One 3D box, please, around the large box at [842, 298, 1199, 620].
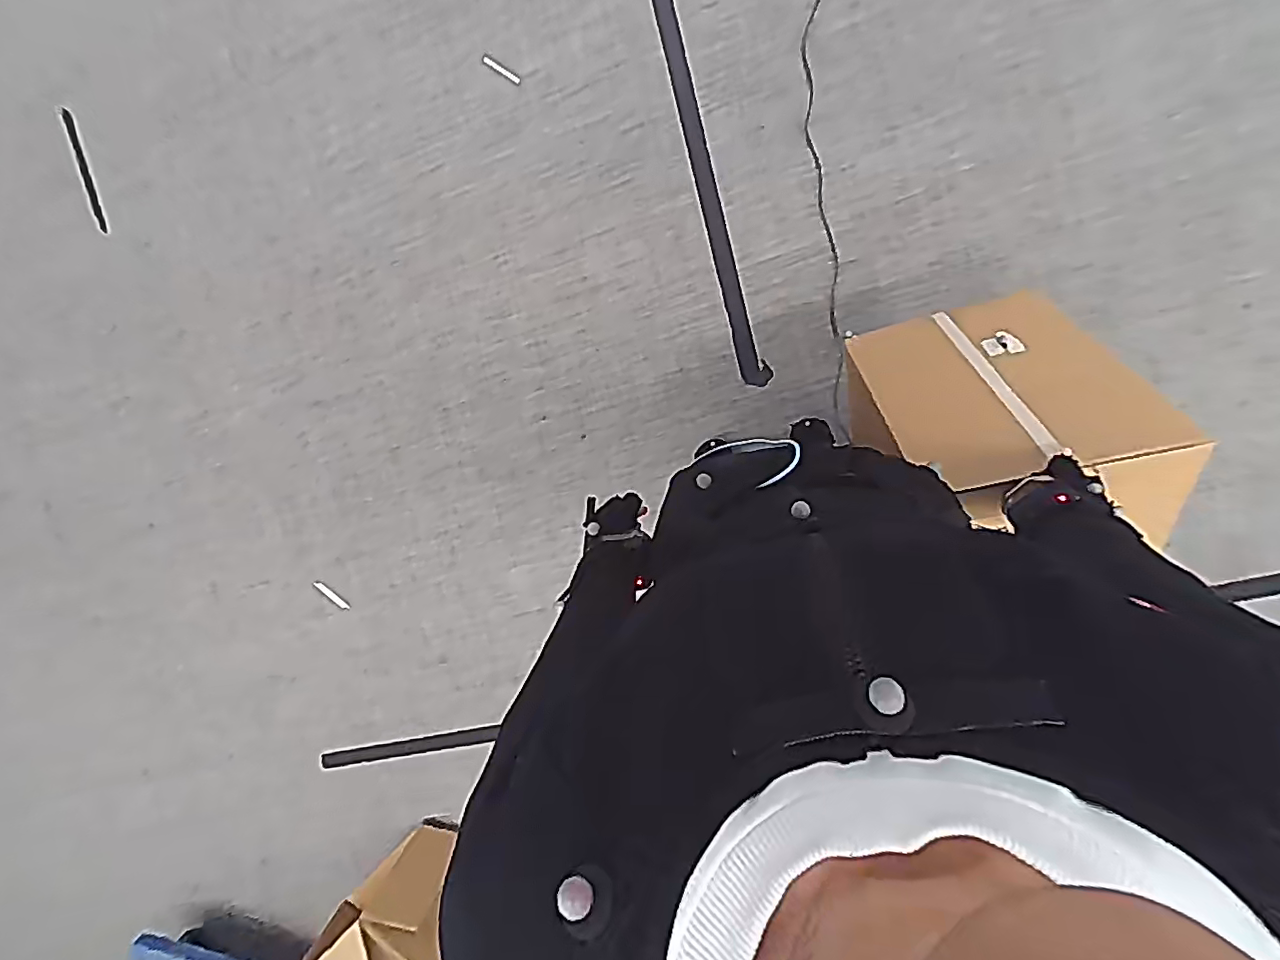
[{"bbox_3d":[0.562,-0.039,0.904,0.320,0.408,0.320,-13,131,12],"label":"large box"}]
